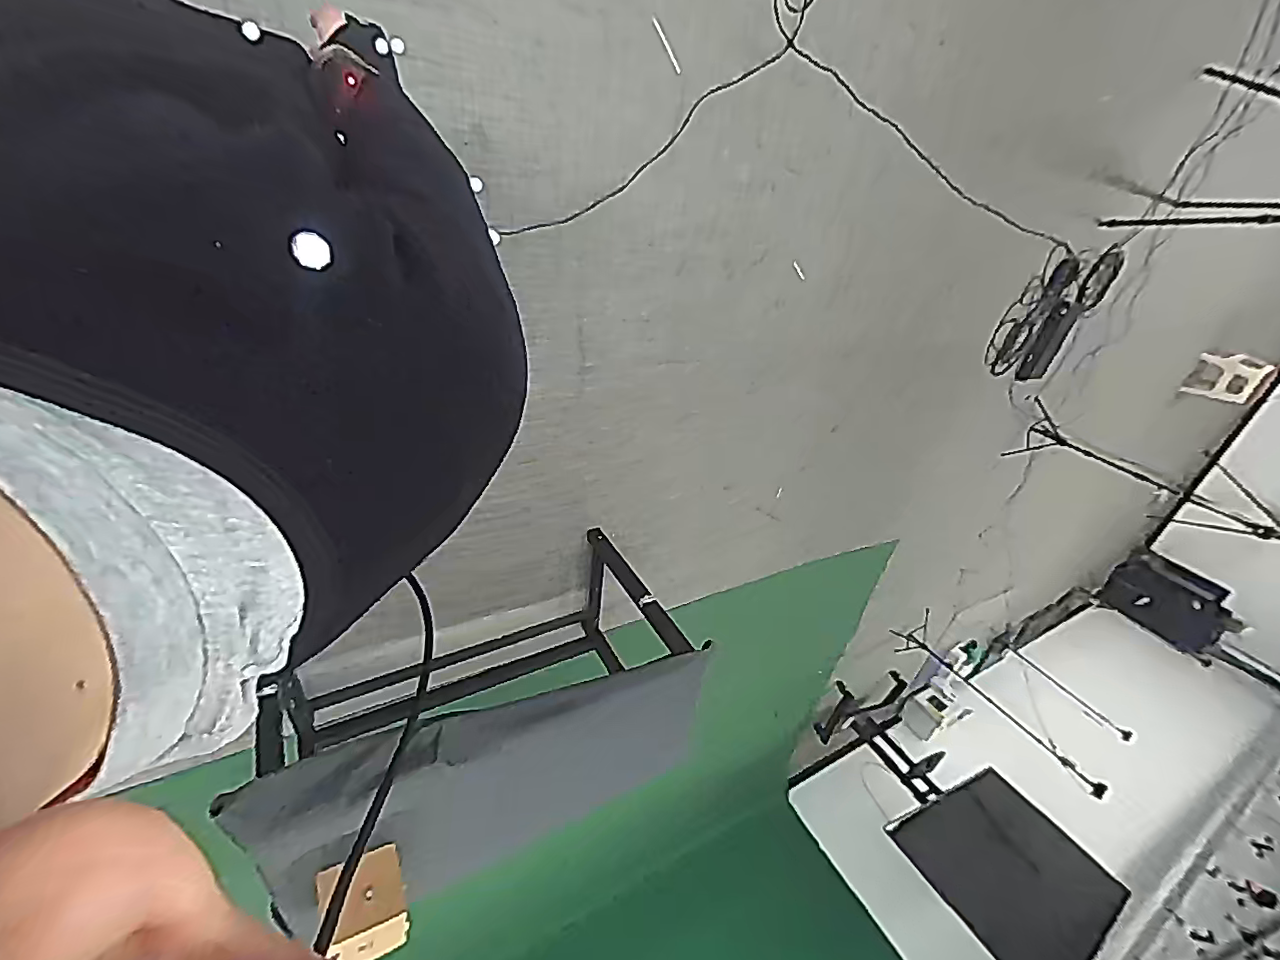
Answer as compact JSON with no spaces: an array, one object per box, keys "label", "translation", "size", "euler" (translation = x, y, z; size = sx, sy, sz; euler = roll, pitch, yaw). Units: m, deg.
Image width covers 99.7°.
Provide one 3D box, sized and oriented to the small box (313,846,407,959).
[{"label":"small box","translation":[-0.678,1.039,1.310],"size":[0.179,0.176,0.168],"euler":[-6,123,-33]}]
